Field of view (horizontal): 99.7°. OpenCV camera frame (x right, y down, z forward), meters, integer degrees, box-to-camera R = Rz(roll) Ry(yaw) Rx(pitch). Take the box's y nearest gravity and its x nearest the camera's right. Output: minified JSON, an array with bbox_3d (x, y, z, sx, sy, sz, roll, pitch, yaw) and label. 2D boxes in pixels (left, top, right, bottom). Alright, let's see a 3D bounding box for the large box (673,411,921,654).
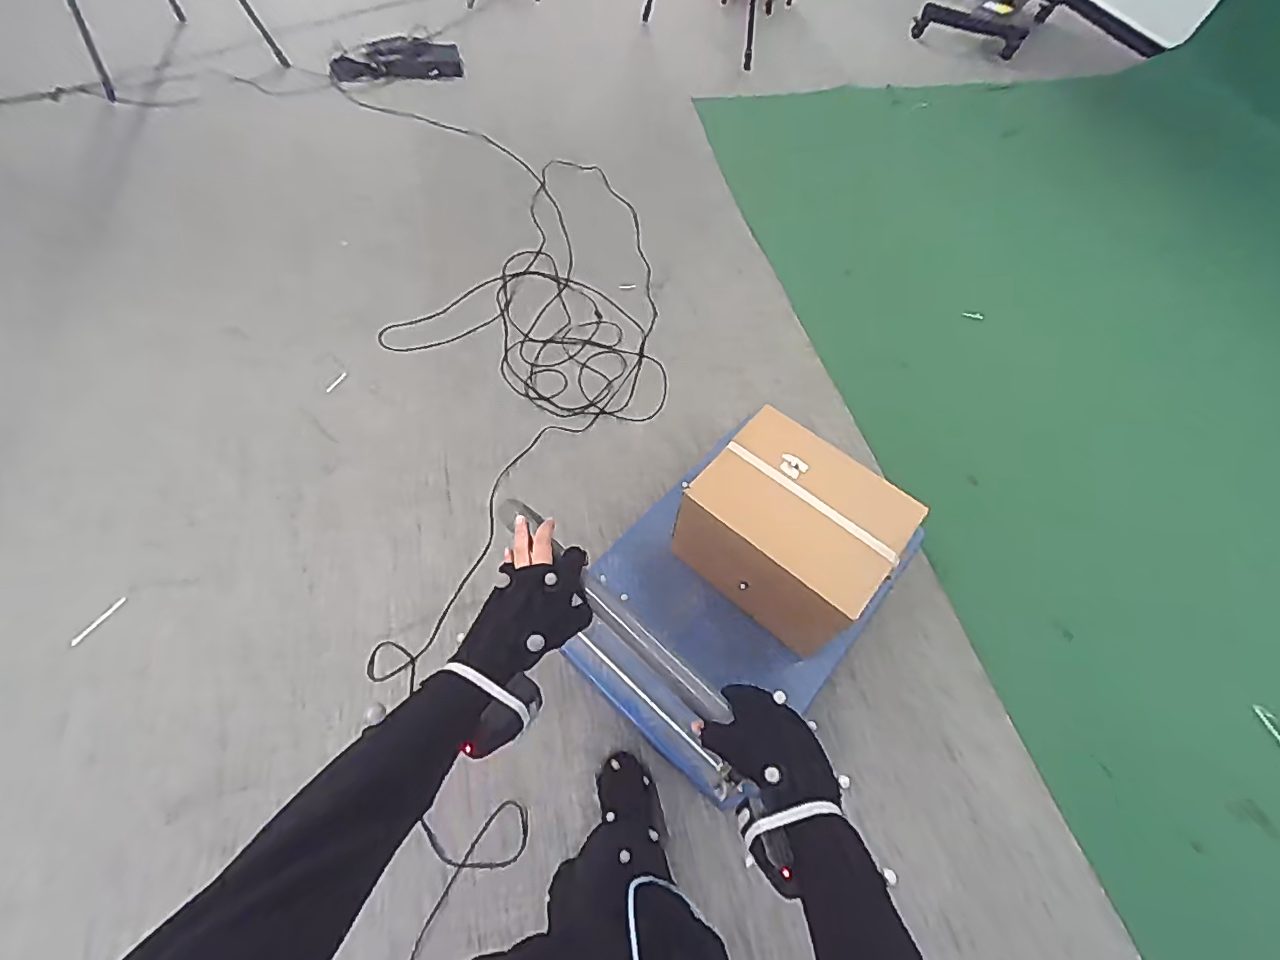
[{"bbox_3d":[0.331,0.125,1.240,0.408,0.320,0.320,37,64,18],"label":"large box"}]
